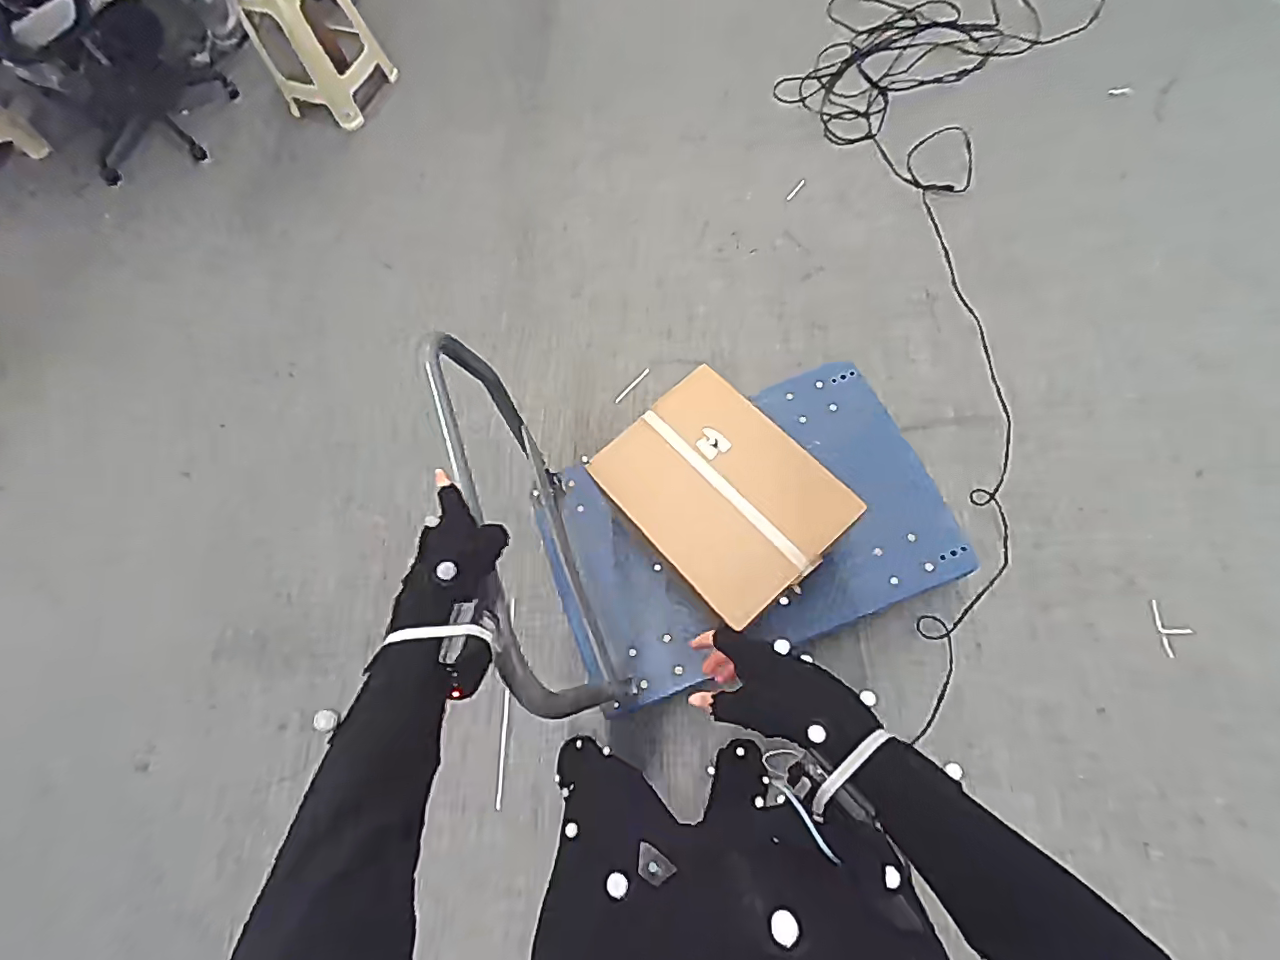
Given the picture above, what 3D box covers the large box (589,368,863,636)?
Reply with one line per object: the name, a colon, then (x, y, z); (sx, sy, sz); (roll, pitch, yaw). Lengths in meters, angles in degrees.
large box: (0.166, 0.060, 1.109); (0.320, 0.320, 0.408); (-41, 69, -9)
